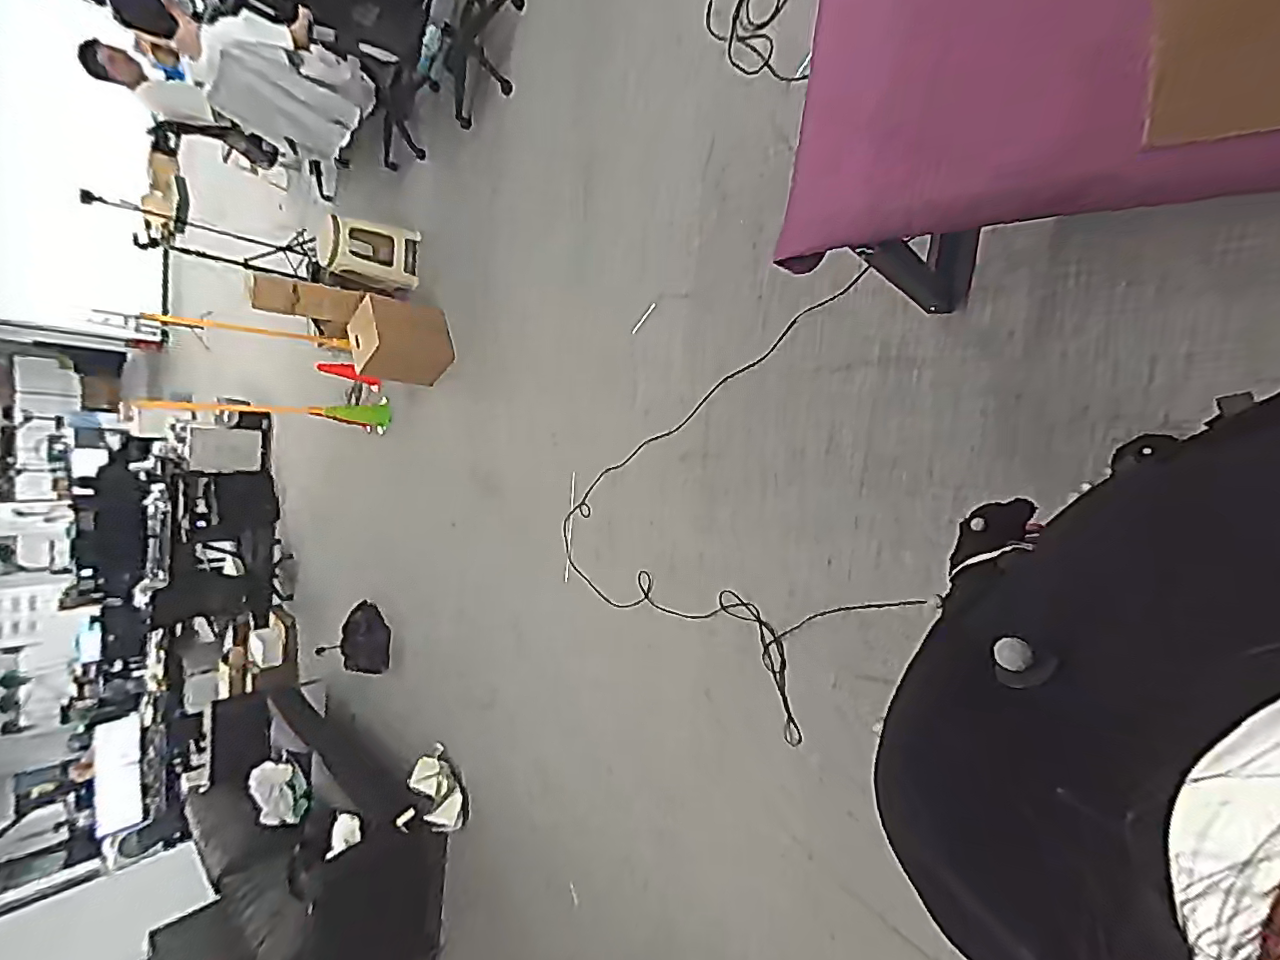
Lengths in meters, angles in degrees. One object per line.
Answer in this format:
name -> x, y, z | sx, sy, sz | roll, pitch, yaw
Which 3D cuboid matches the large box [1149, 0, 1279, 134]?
large box -> 0.591, -0.531, 0.347 | 0.320, 0.320, 0.408 | 16, 101, 40
